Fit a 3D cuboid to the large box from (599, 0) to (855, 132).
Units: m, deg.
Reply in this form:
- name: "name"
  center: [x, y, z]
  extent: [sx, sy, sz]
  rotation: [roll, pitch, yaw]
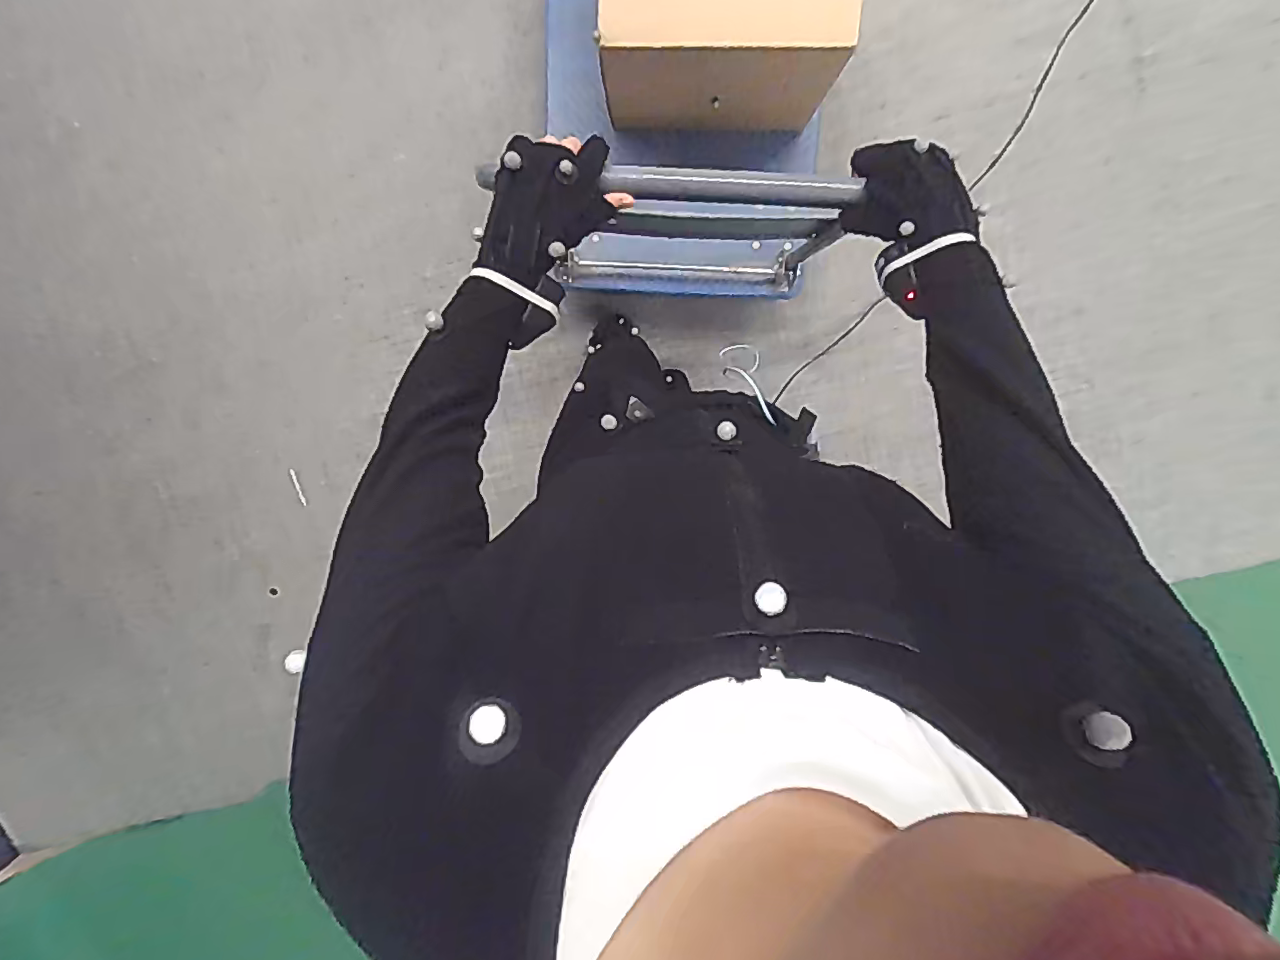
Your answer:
- name: "large box"
  center: [0.143, -0.856, 0.969]
  extent: [0.408, 0.320, 0.320]
  rotation: [1, 101, 3]
